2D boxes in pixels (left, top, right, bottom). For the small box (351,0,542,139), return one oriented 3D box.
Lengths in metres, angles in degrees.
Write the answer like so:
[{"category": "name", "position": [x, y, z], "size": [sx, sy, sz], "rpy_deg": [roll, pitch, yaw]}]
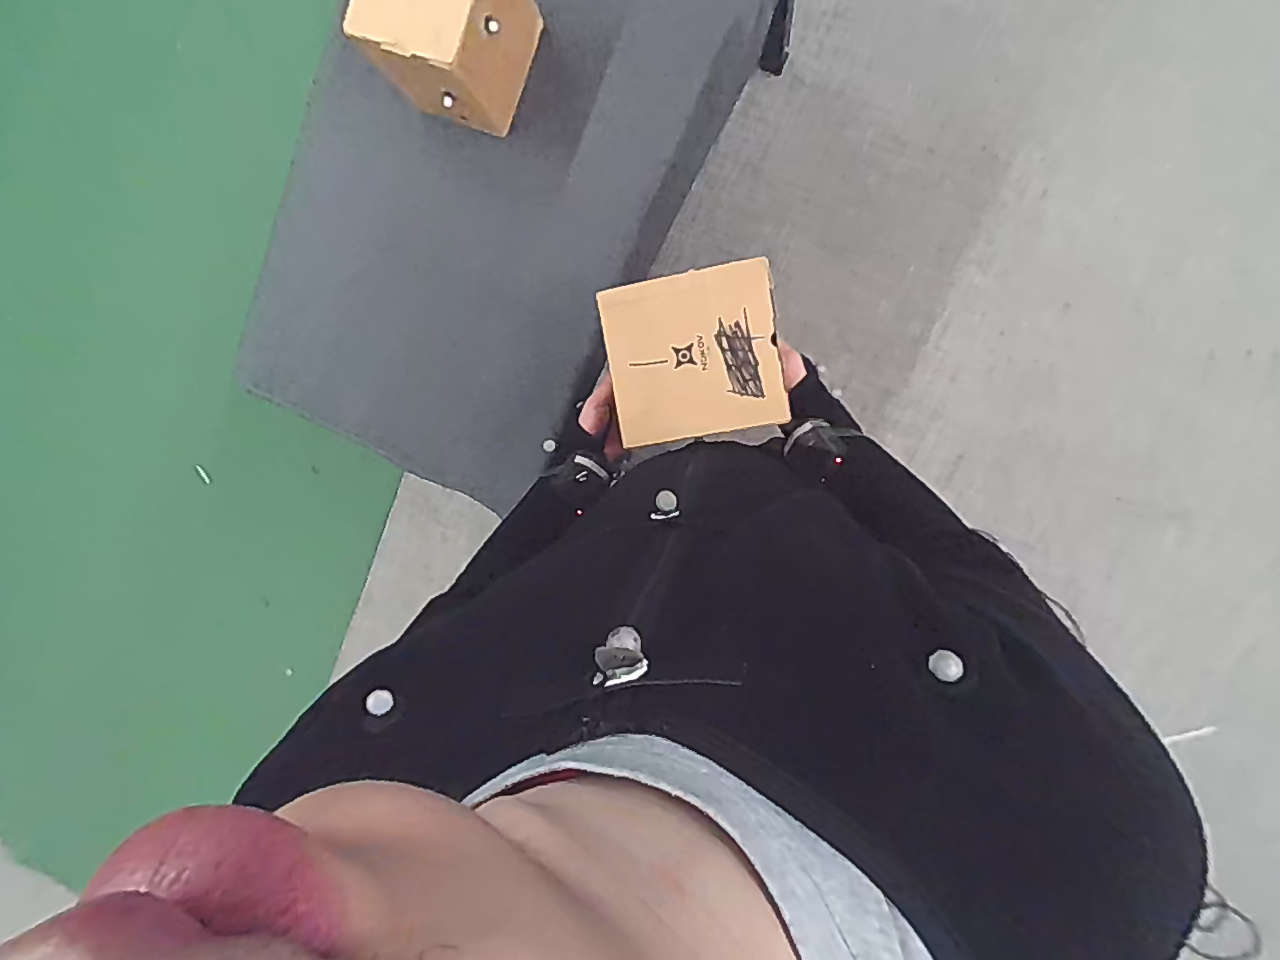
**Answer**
[{"category": "small box", "position": [-0.258, -0.626, 0.760], "size": [0.168, 0.176, 0.179], "rpy_deg": [23, 97, 7]}]
